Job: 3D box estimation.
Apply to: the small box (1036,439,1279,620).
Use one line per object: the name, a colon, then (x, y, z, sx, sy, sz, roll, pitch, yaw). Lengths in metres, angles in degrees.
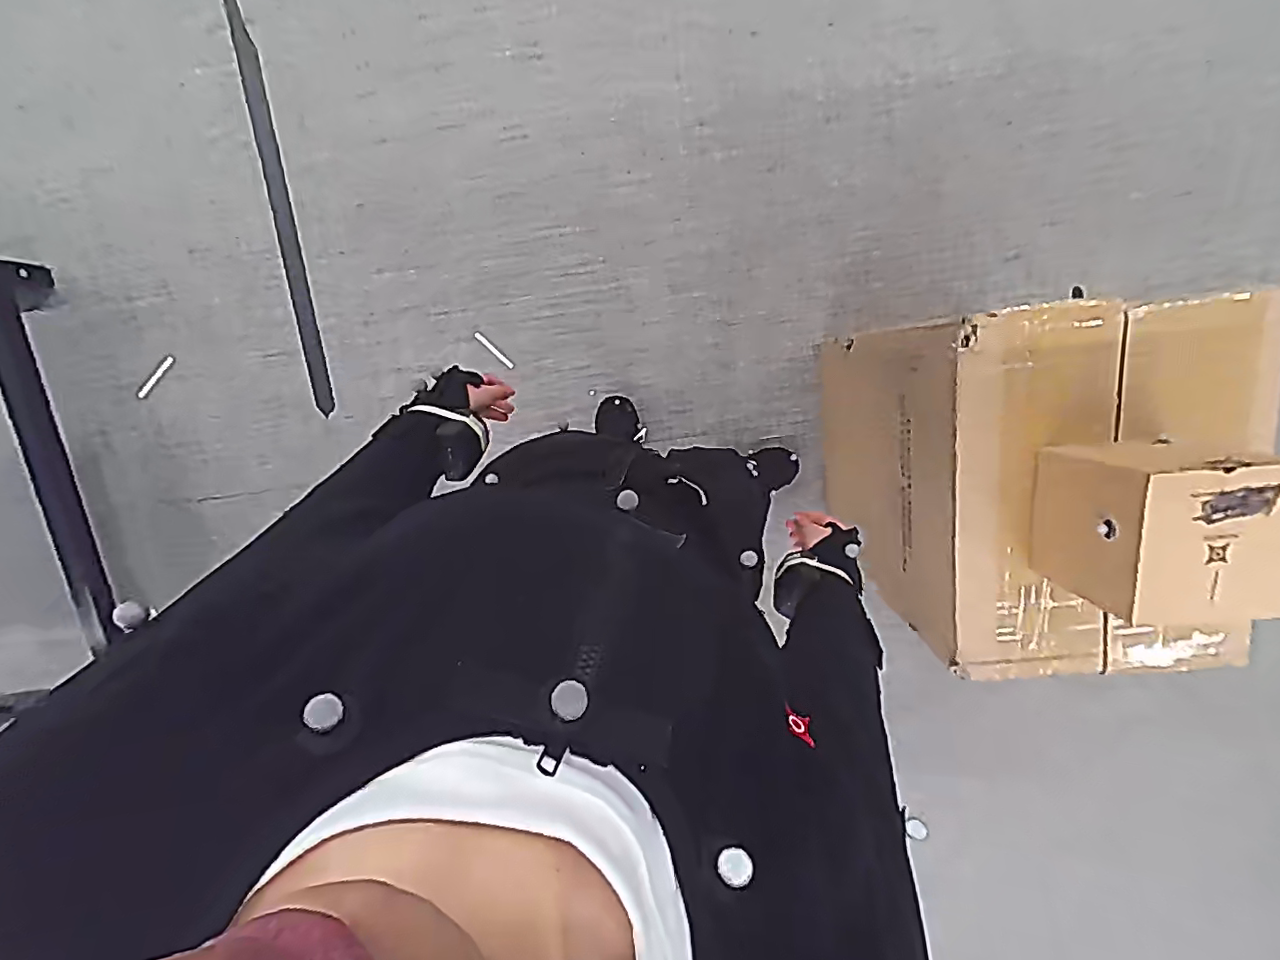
small box: (0.614, 0.046, 0.645, 0.168, 0.176, 0.179, -4, 102, 3)
